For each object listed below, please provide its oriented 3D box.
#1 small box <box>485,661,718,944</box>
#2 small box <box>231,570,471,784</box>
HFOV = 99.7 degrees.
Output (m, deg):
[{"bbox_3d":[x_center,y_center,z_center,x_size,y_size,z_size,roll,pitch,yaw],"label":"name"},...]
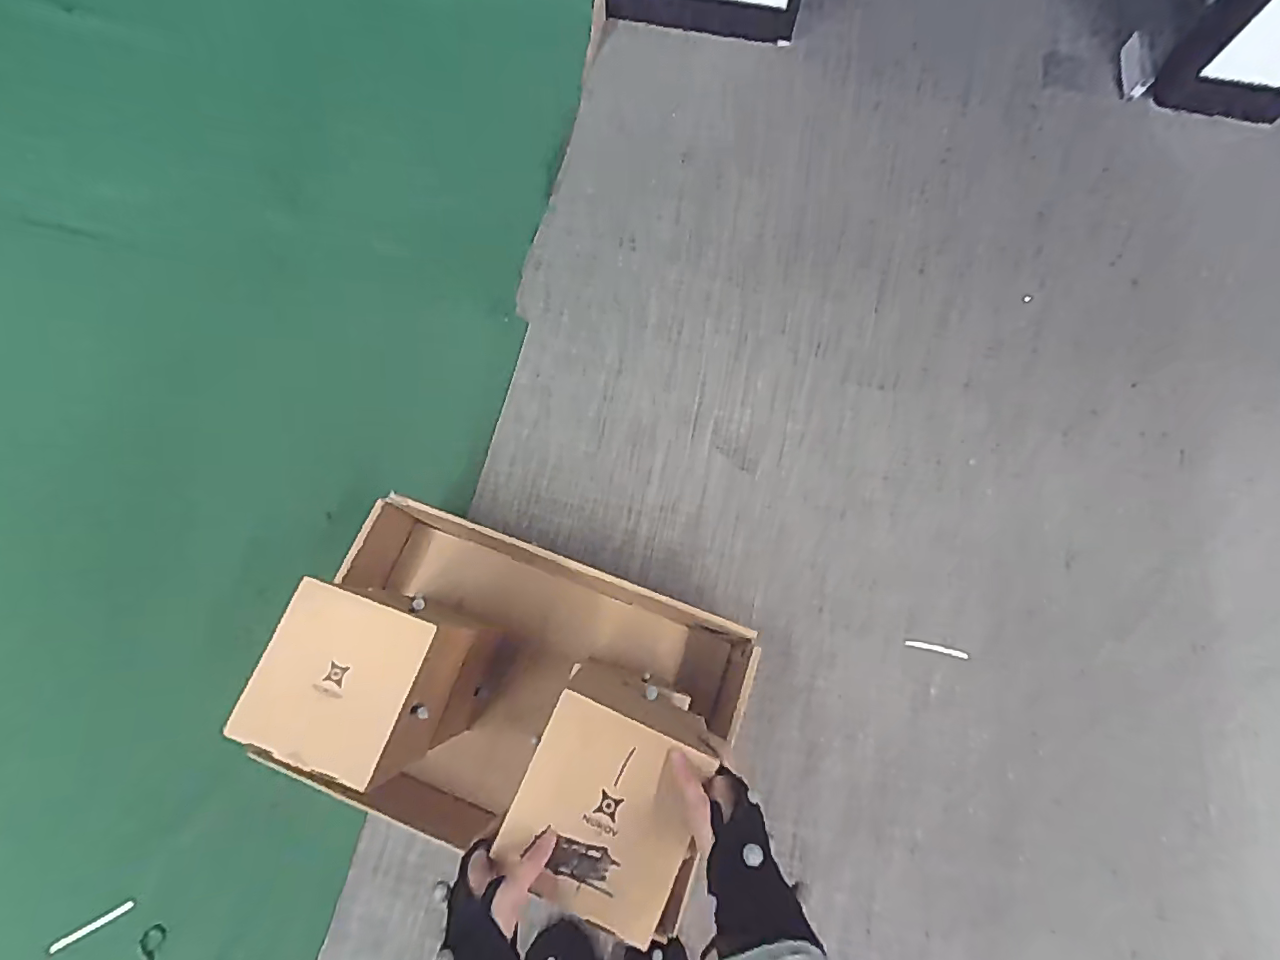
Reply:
[{"bbox_3d":[-0.033,0.319,0.580,0.168,0.176,0.179,25,81,4],"label":"small box"},{"bbox_3d":[-0.324,0.227,0.654,0.168,0.176,0.179,20,76,4],"label":"small box"}]
